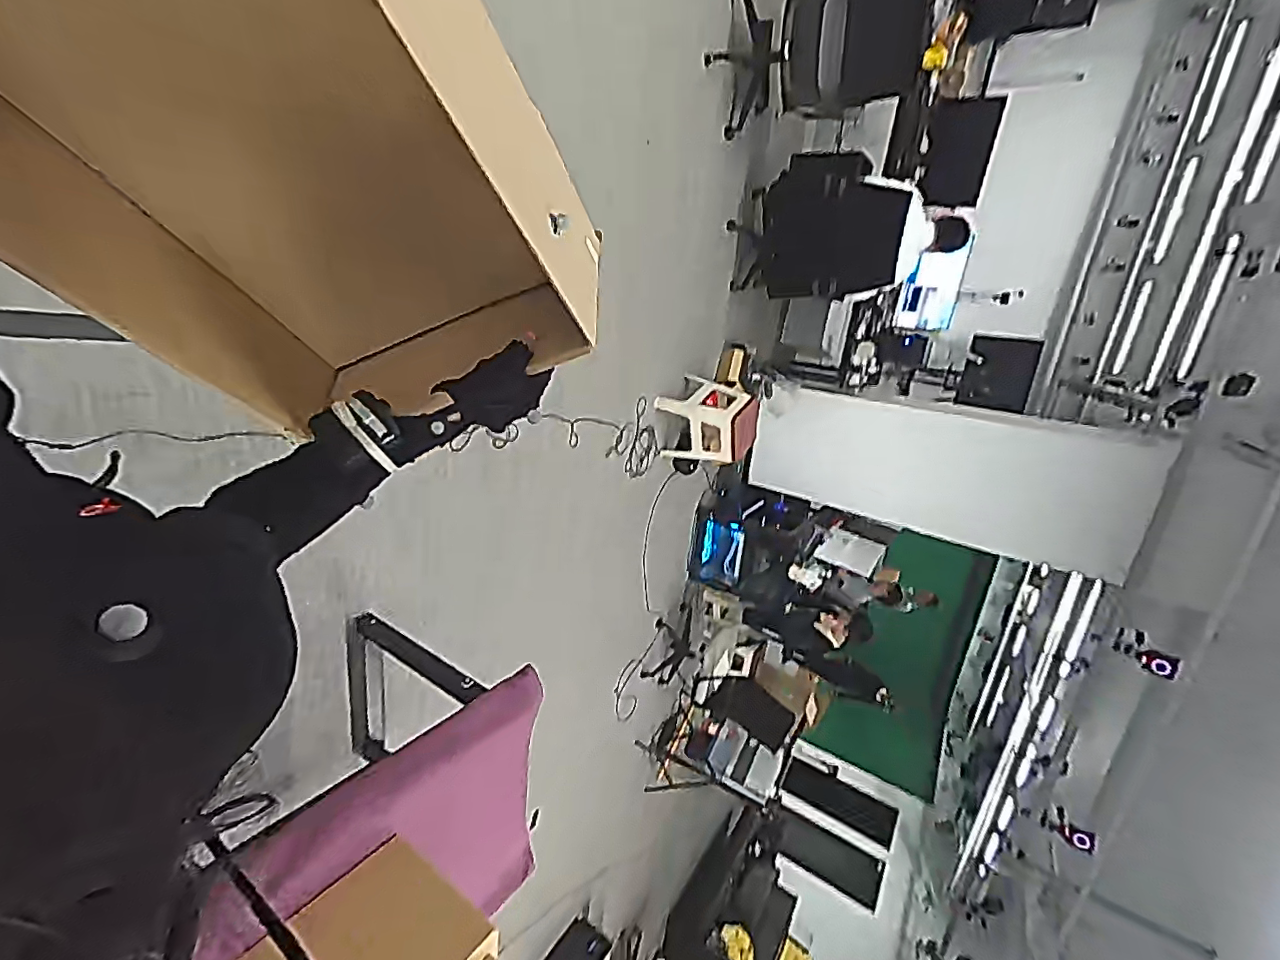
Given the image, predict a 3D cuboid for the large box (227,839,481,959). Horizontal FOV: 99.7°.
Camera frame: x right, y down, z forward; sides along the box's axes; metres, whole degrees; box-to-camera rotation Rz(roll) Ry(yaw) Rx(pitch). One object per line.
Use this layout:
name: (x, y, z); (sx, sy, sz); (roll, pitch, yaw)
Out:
large box: (-0.541, 0.969, 0.952); (0.408, 0.320, 0.320); (-18, 119, -54)
